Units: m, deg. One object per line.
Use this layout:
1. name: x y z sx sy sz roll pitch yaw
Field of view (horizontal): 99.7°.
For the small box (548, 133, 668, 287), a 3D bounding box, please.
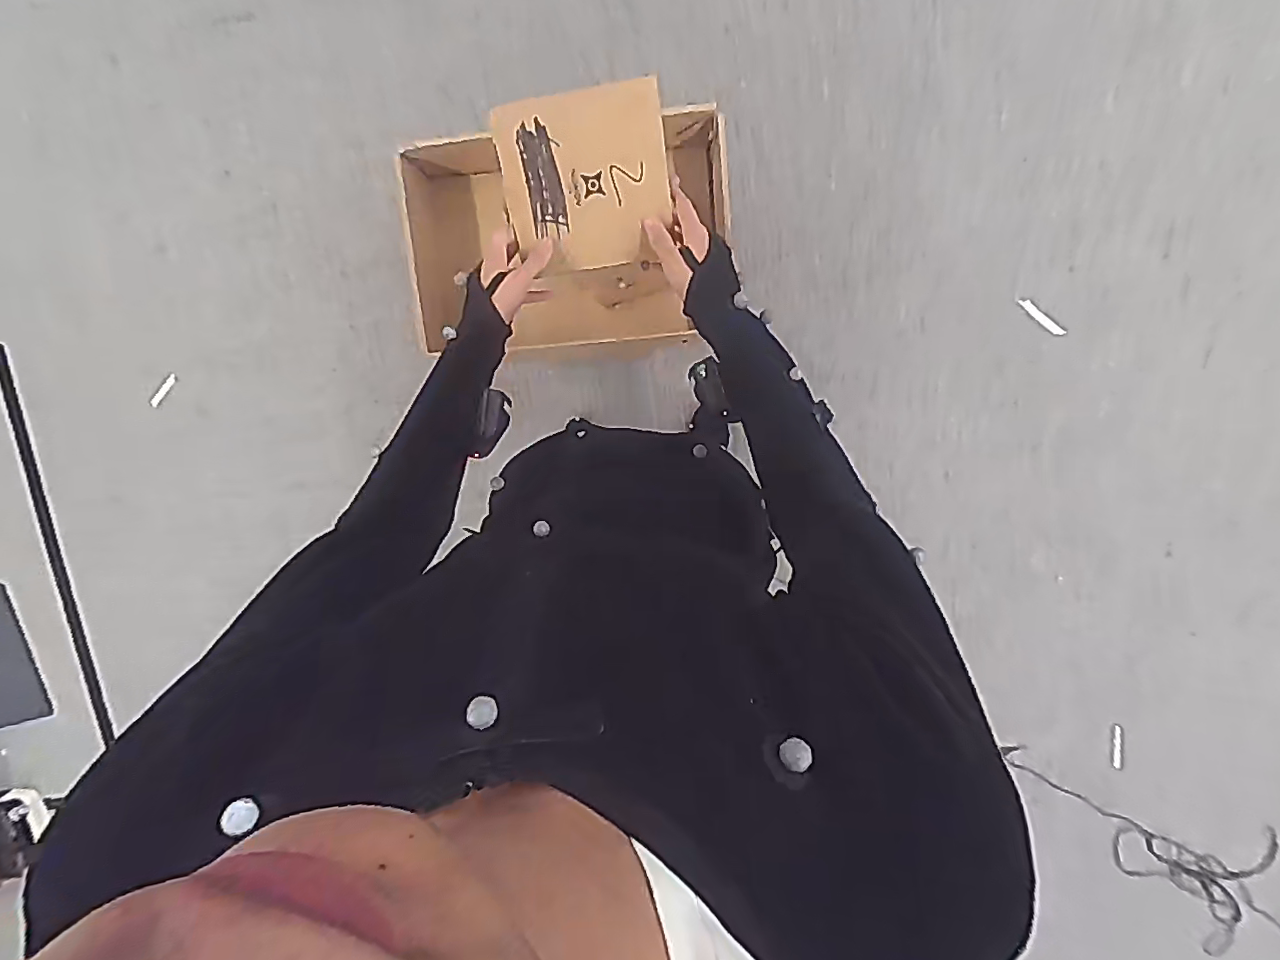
1. small box: -0.044 -0.434 0.898 0.168 0.176 0.179 -6 99 6
